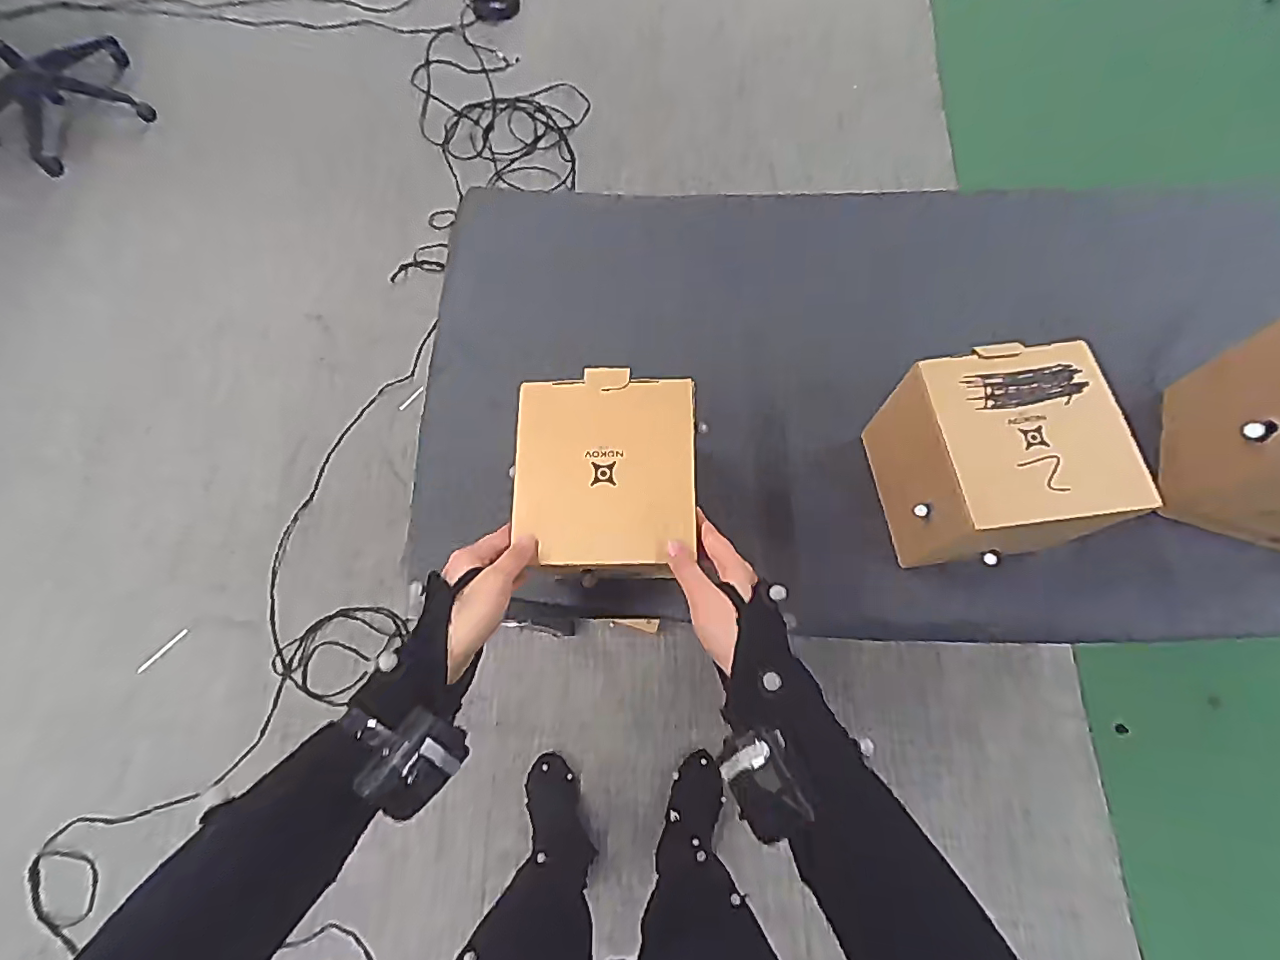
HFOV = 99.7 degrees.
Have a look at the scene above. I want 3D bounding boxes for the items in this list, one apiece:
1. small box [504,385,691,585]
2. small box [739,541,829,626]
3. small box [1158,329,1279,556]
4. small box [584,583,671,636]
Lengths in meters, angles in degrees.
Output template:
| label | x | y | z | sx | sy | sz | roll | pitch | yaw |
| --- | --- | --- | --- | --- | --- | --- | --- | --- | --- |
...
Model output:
| label | x | y | z | sx | sy | sz | roll | pitch | yaw |
| --- | --- | --- | --- | --- | --- | --- | --- | --- | --- |
| small box | -0.031 | 0.016 | 0.557 | 0.168 | 0.176 | 0.179 | -1 | 76 | 3 |
| small box | 0.325 | 0.246 | 1.253 | 0.168 | 0.176 | 0.179 | -3 | 70 | 2 |
| small box | 0.687 | -0.031 | 0.551 | 0.168 | 0.176 | 0.179 | 20 | 71 | 10 |
| small box | -0.019 | 0.256 | 1.271 | 0.168 | 0.176 | 0.179 | 16 | 73 | 9 |
